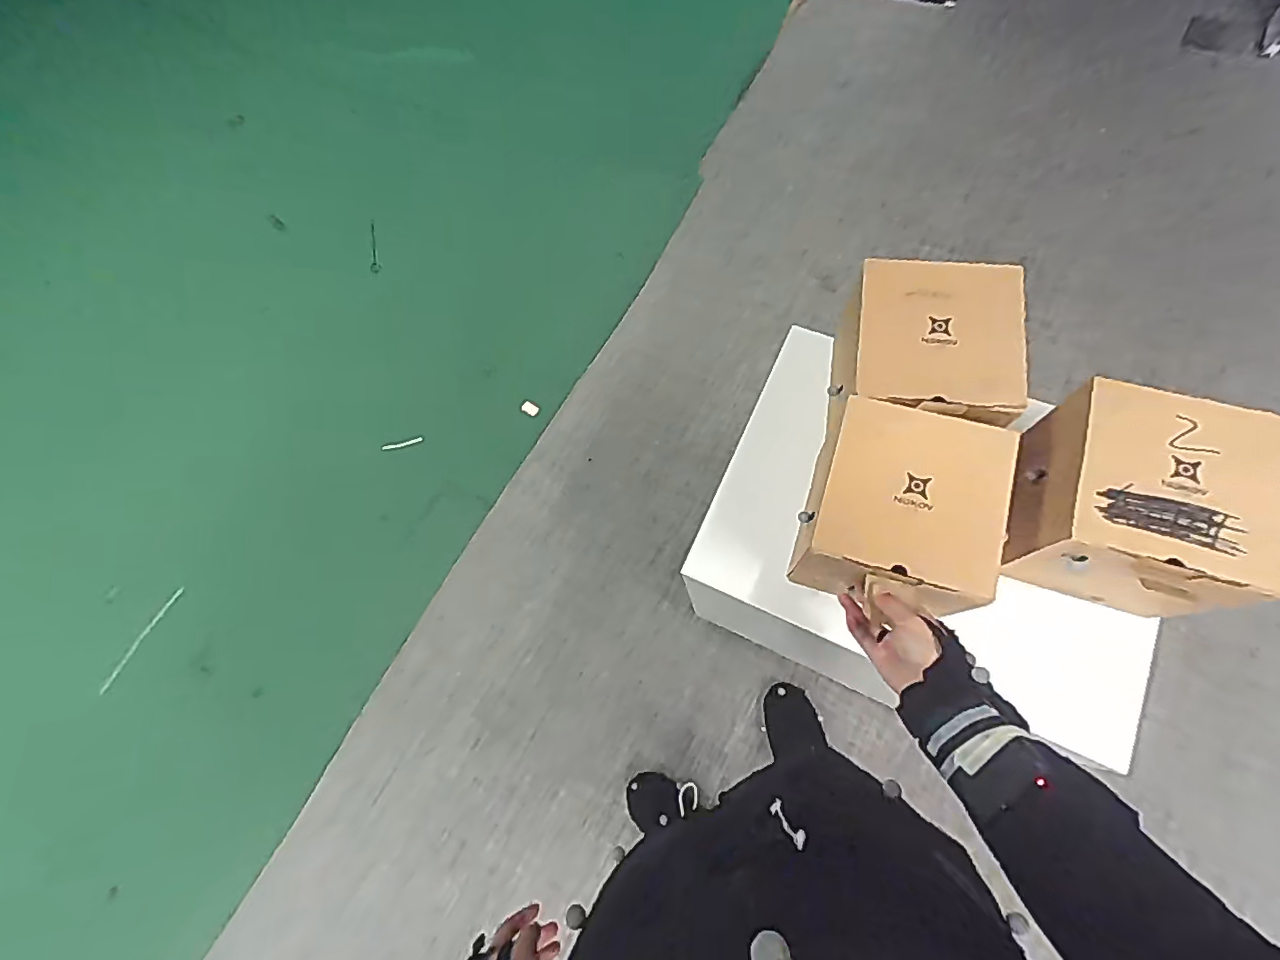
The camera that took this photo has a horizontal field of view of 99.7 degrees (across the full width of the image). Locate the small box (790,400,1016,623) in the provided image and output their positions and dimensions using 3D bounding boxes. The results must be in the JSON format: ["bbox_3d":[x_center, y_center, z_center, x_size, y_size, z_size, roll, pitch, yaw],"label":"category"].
[{"bbox_3d":[0.272,0.043,0.592,0.168,0.176,0.179,16,73,12],"label":"small box"}]
